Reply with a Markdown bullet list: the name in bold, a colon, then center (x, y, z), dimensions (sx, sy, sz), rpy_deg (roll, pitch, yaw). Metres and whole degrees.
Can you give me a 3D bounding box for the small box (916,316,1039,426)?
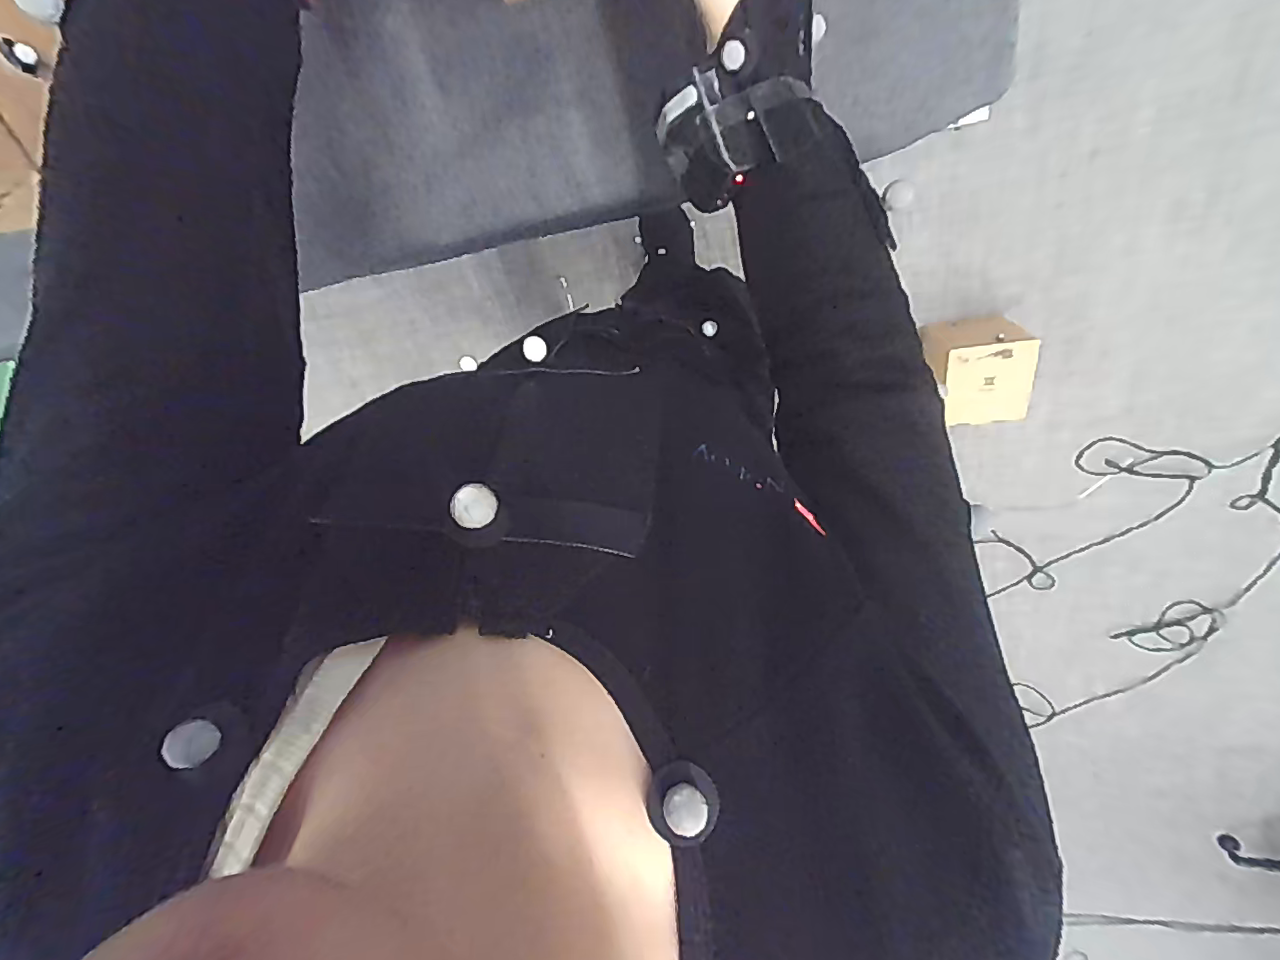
- **small box**: center (0.713, -0.237, 1.168), dimensions (0.168, 0.176, 0.179), rpy_deg (-4, 122, 11)
